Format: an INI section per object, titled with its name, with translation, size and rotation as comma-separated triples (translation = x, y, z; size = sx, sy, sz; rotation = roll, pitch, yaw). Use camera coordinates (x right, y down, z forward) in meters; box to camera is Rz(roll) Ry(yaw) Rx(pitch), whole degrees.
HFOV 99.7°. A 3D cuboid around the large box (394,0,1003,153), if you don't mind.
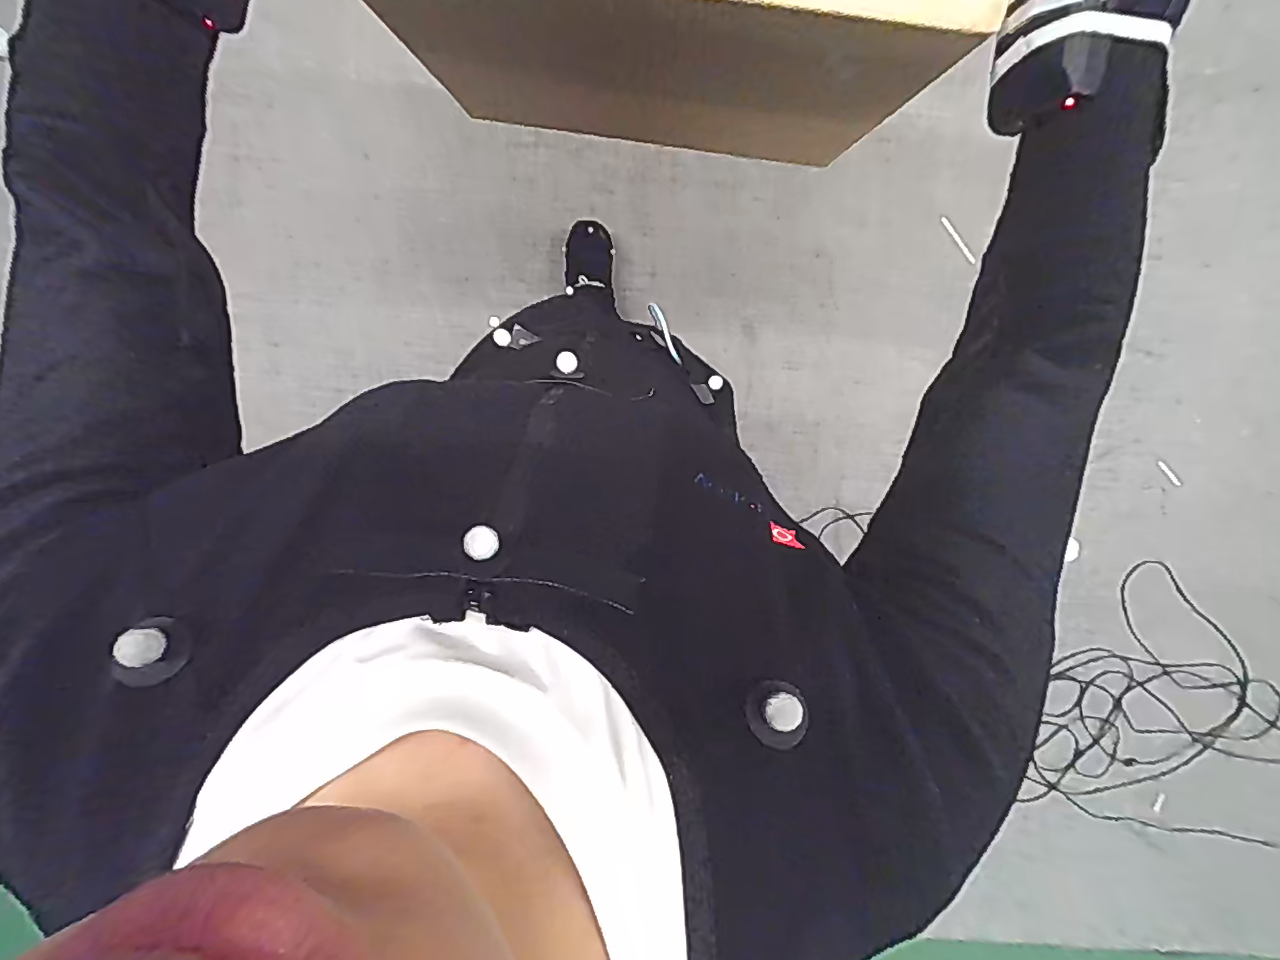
[large box]
translation = 0.033, -0.484, 0.417
size = 0.408, 0.320, 0.320
rotation = 6, 108, -2
